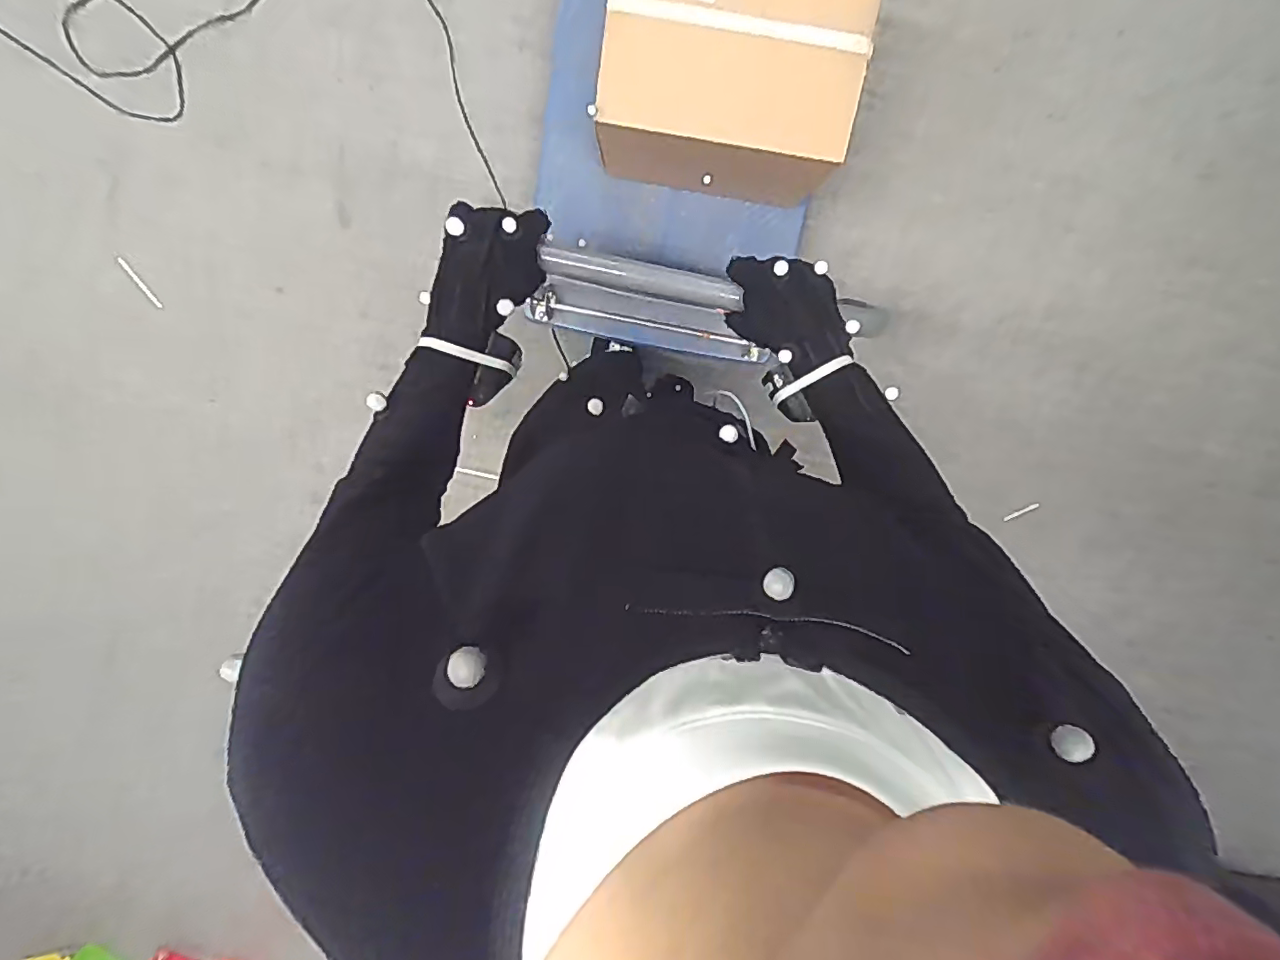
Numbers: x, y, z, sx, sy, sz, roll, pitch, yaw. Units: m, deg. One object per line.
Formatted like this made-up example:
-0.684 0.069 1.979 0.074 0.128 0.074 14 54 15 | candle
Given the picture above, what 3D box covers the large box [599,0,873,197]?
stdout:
0.154 -0.730 0.975 0.408 0.320 0.320 8 105 -1 | large box
